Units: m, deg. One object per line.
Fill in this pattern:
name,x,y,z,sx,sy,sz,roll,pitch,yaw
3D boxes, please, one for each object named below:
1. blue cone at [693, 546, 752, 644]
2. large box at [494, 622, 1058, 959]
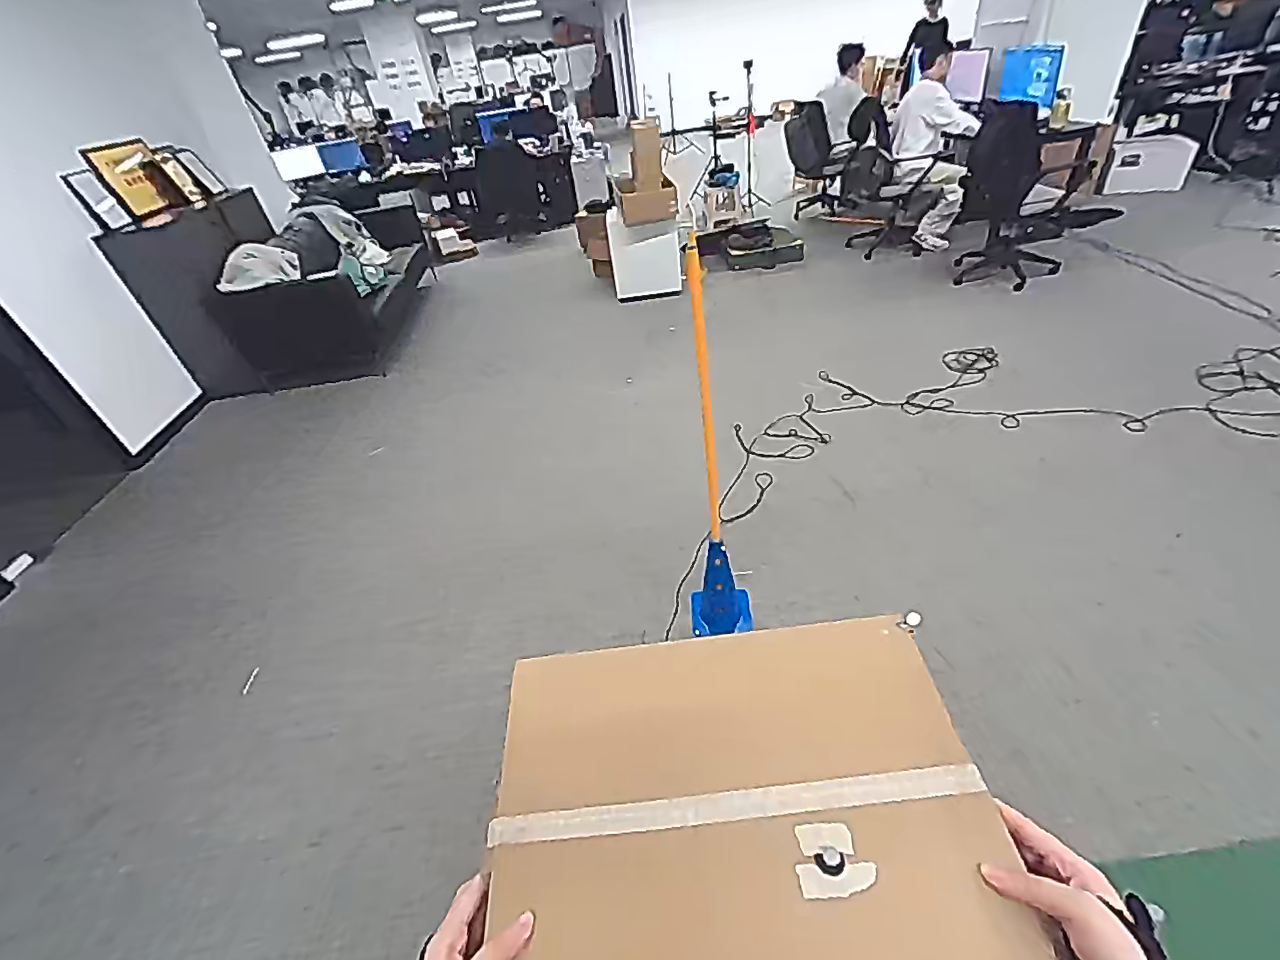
blue cone,0.257,0.350,1.746,0.193,0.380,0.192,-4,38,7
large box,0.096,0.384,0.558,0.408,0.320,0.320,-7,44,2
